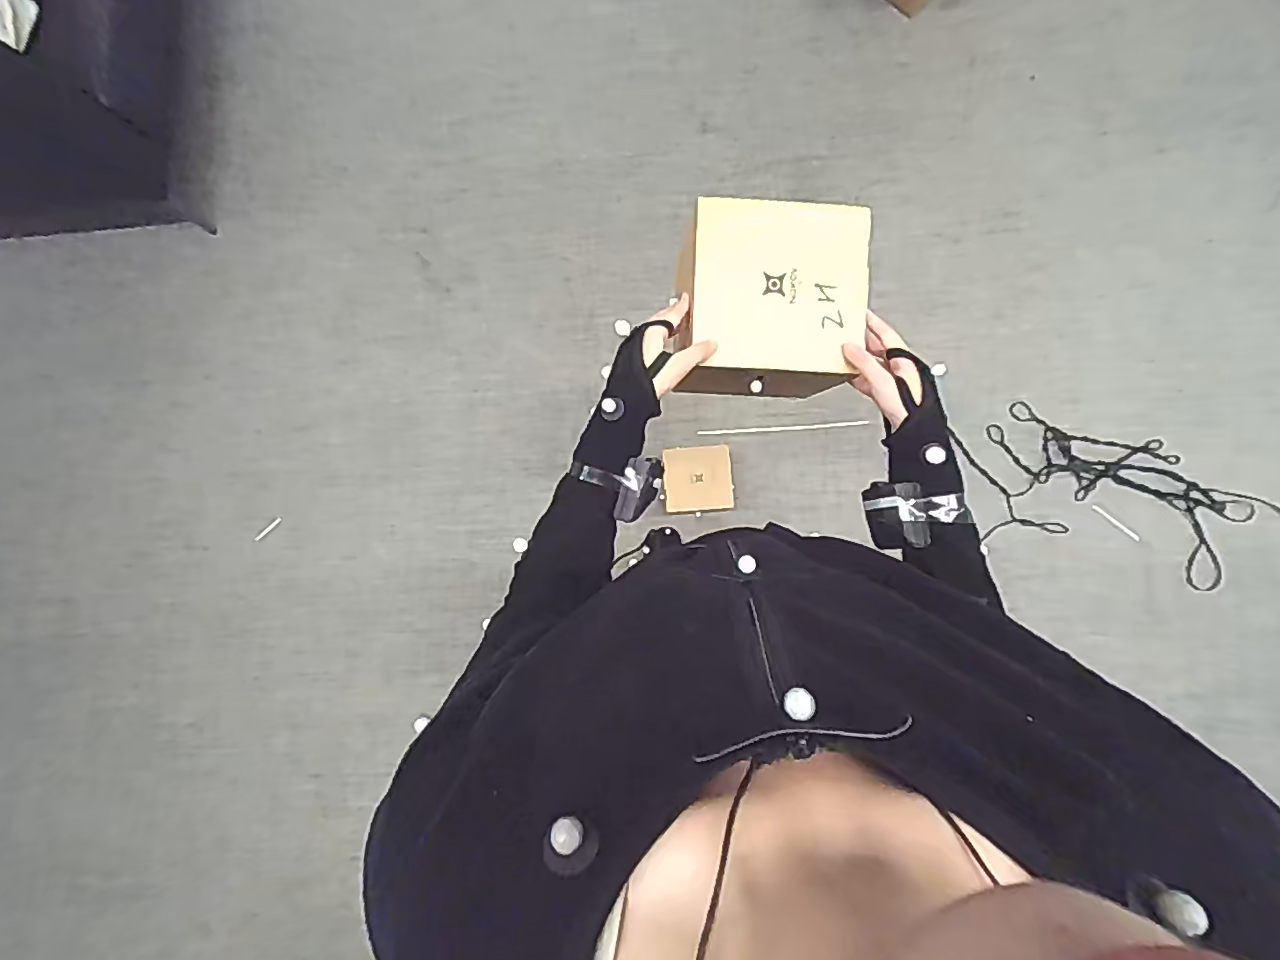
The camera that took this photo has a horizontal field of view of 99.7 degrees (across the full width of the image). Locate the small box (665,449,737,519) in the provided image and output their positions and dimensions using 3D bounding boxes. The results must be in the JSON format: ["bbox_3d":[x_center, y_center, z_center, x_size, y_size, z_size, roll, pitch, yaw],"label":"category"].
[{"bbox_3d":[0.163,0.015,1.454,0.179,0.176,0.168,-4,83,4],"label":"small box"}]

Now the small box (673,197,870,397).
[{"bbox_3d":[0.132,-0.188,0.602,0.179,0.176,0.168,2,91,-2],"label":"small box"}]
